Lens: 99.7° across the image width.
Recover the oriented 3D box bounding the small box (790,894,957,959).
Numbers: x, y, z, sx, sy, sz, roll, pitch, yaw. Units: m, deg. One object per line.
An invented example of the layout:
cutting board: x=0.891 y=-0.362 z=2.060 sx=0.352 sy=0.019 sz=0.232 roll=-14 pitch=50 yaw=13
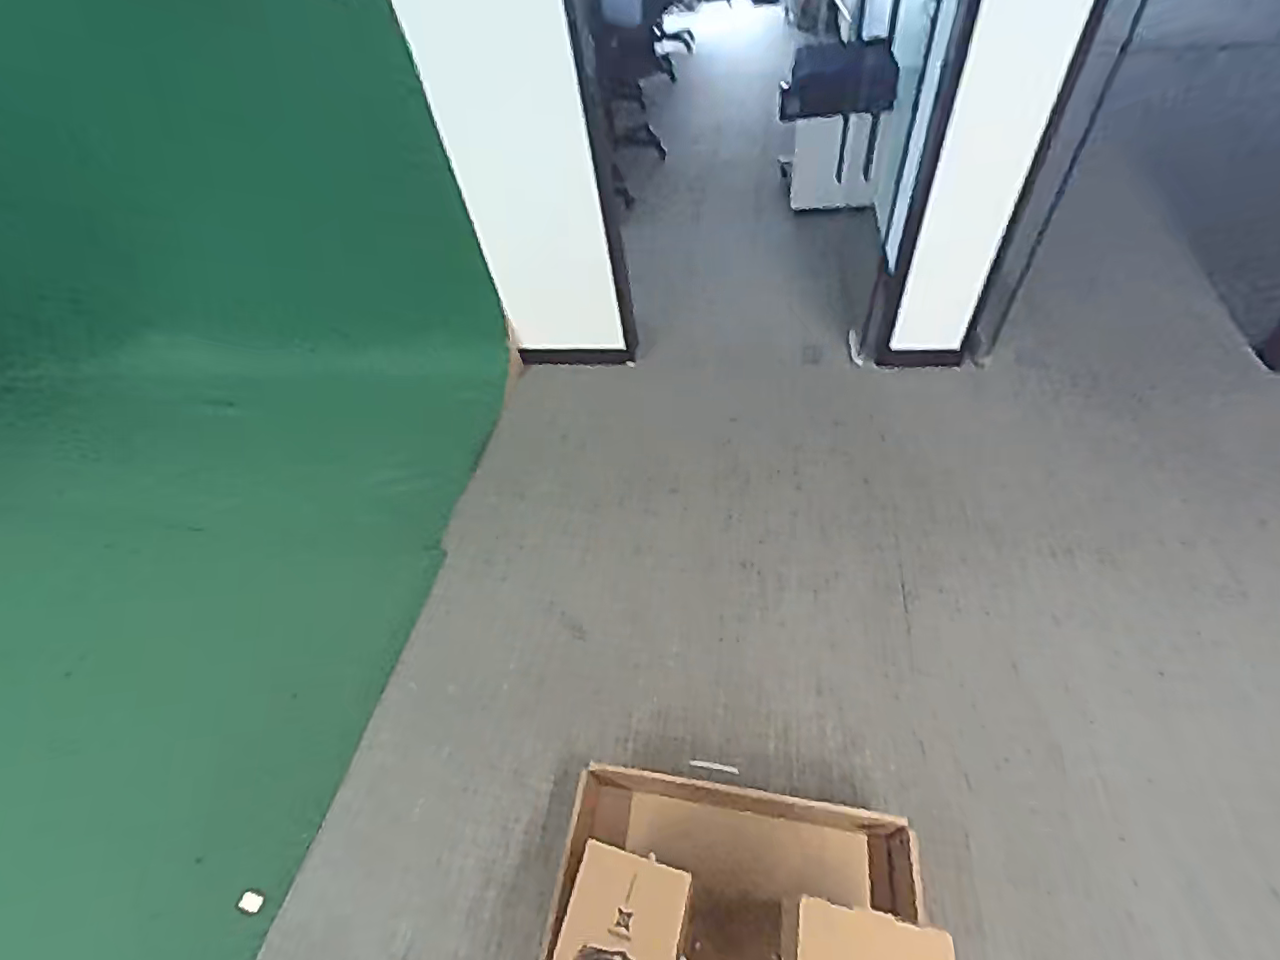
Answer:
small box: x=0.265 y=0.619 z=0.633 sx=0.168 sy=0.176 sz=0.179 roll=5 pitch=51 yaw=15

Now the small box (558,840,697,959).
small box: x=-0.010 y=0.691 z=0.832 sx=0.168 sy=0.176 sz=0.179 roll=9 pitch=51 yaw=16
